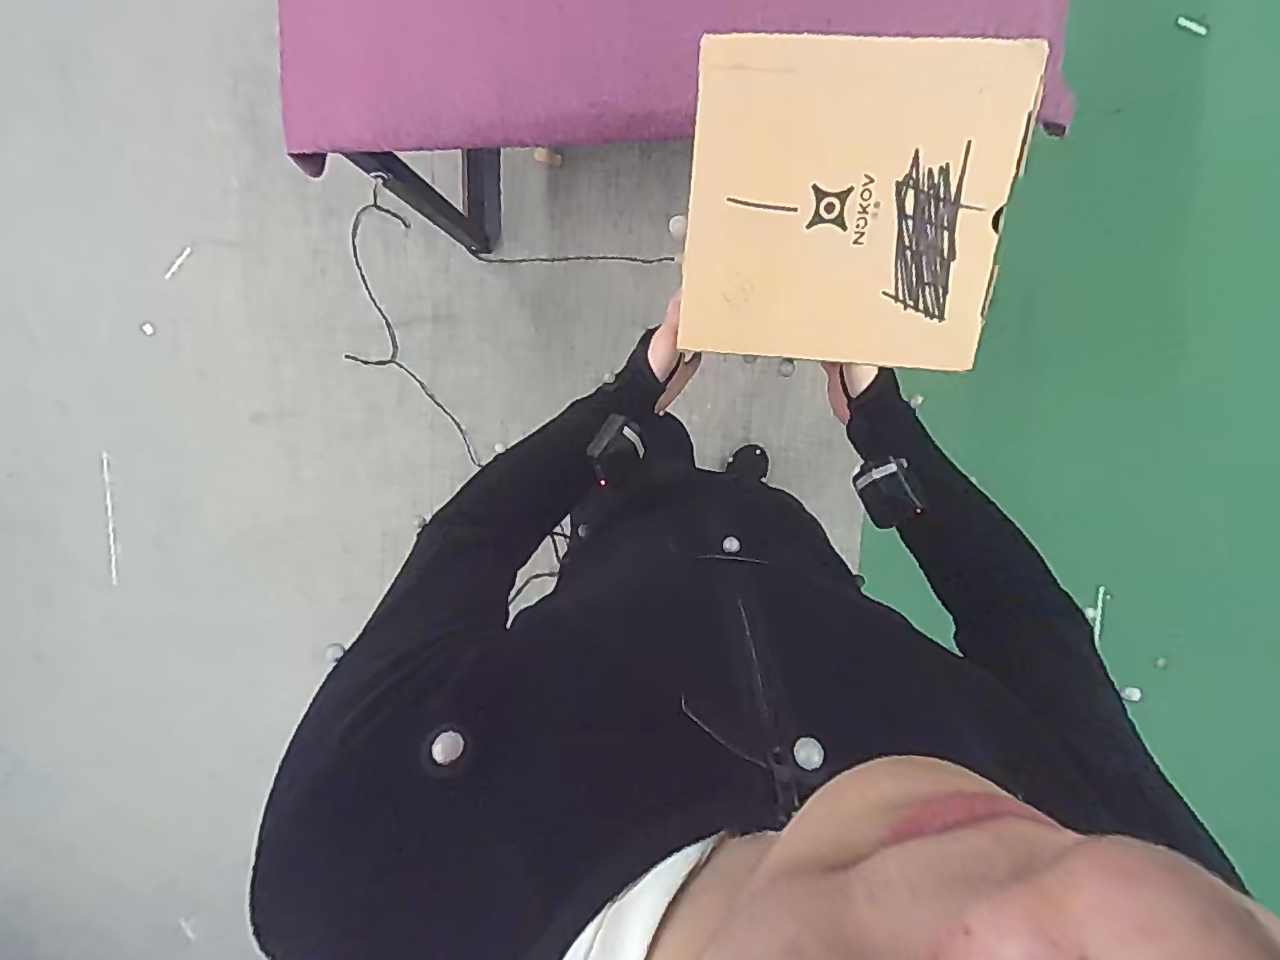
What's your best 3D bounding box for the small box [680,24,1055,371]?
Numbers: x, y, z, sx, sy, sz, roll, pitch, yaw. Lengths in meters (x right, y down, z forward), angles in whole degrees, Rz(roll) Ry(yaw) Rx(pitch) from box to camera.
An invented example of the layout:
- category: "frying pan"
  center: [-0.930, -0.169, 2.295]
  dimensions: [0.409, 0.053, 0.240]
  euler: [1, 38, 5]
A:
- category: "small box"
  center: [0.125, -0.174, 0.375]
  dimensions: [0.179, 0.176, 0.168]
  euler: [6, 107, 5]
